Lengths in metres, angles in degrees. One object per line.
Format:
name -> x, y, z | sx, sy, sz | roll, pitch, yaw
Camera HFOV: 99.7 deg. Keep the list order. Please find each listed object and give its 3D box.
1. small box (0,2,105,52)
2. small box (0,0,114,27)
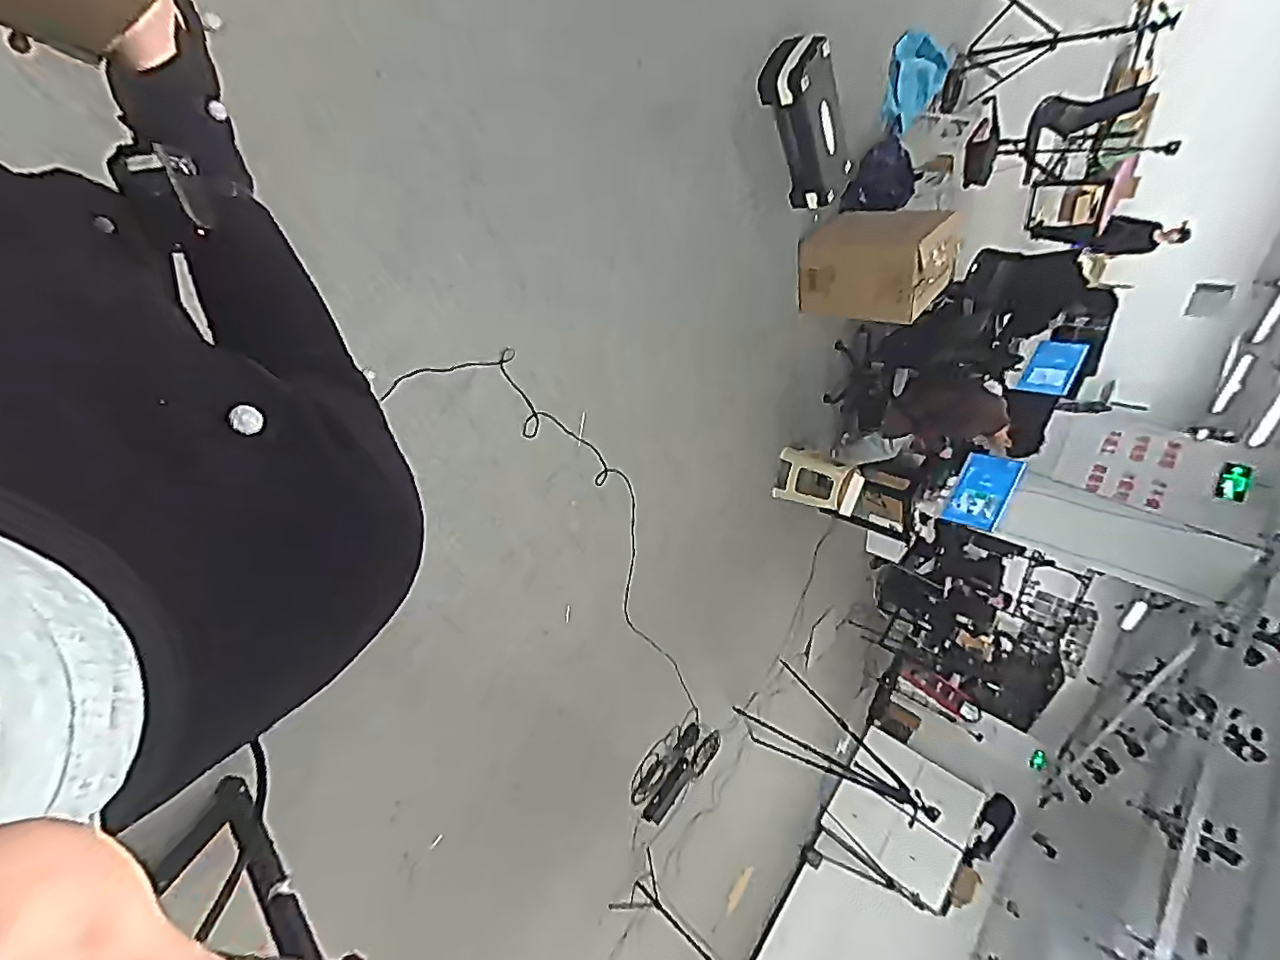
small box -> -0.461, -0.412, 0.342 | 0.179, 0.176, 0.168 | 4, 112, -47
small box -> -0.352, -0.343, 0.240 | 0.179, 0.176, 0.168 | 3, 114, -49
